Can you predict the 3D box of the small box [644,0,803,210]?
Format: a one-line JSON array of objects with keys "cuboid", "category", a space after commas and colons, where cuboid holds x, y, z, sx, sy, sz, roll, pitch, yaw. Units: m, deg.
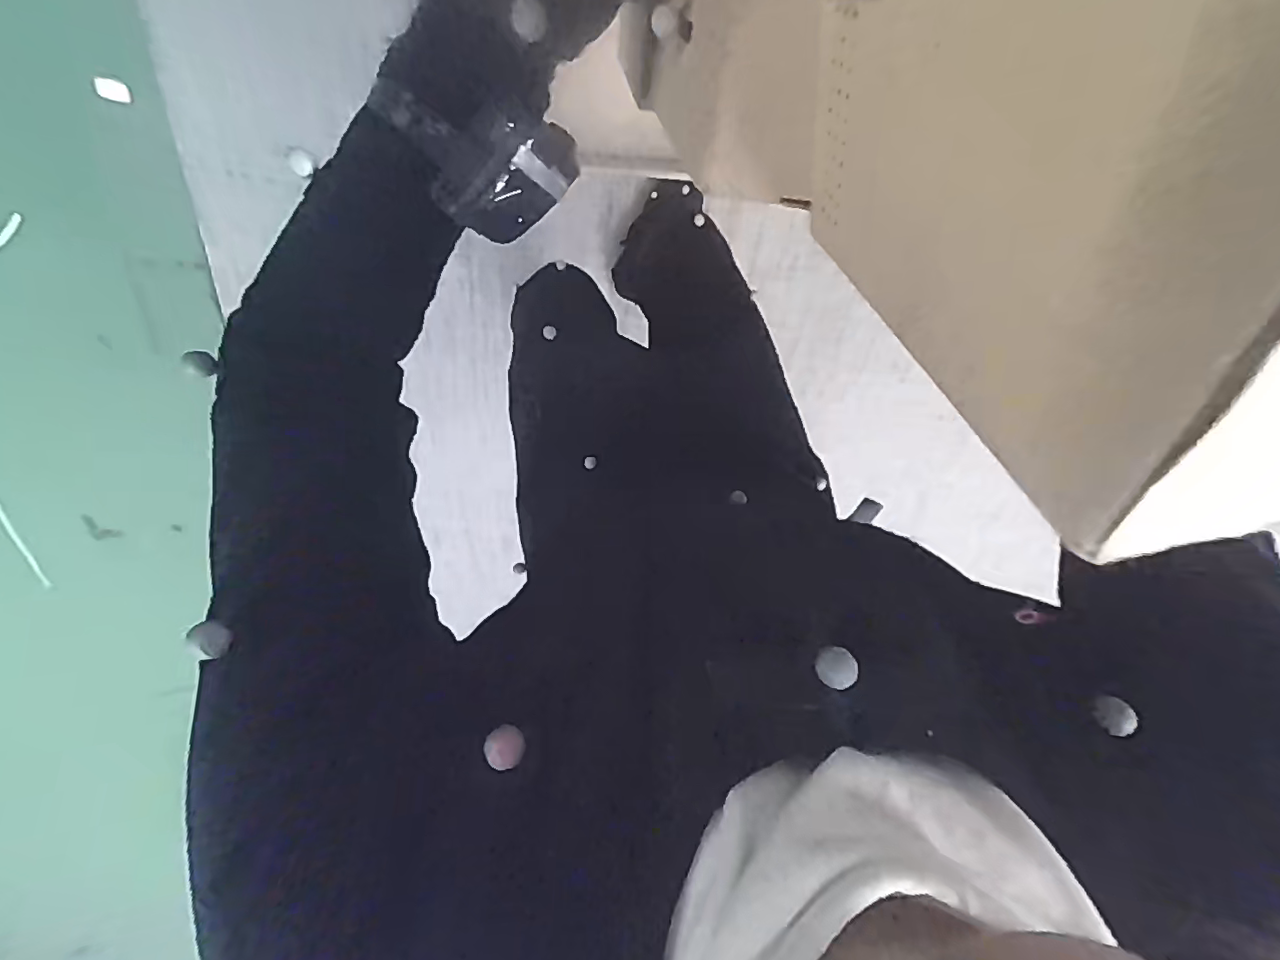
[{"cuboid": [0.098, -0.231, 0.227, 0.168, 0.176, 0.179, 1, 134, -10], "category": "small box"}]
